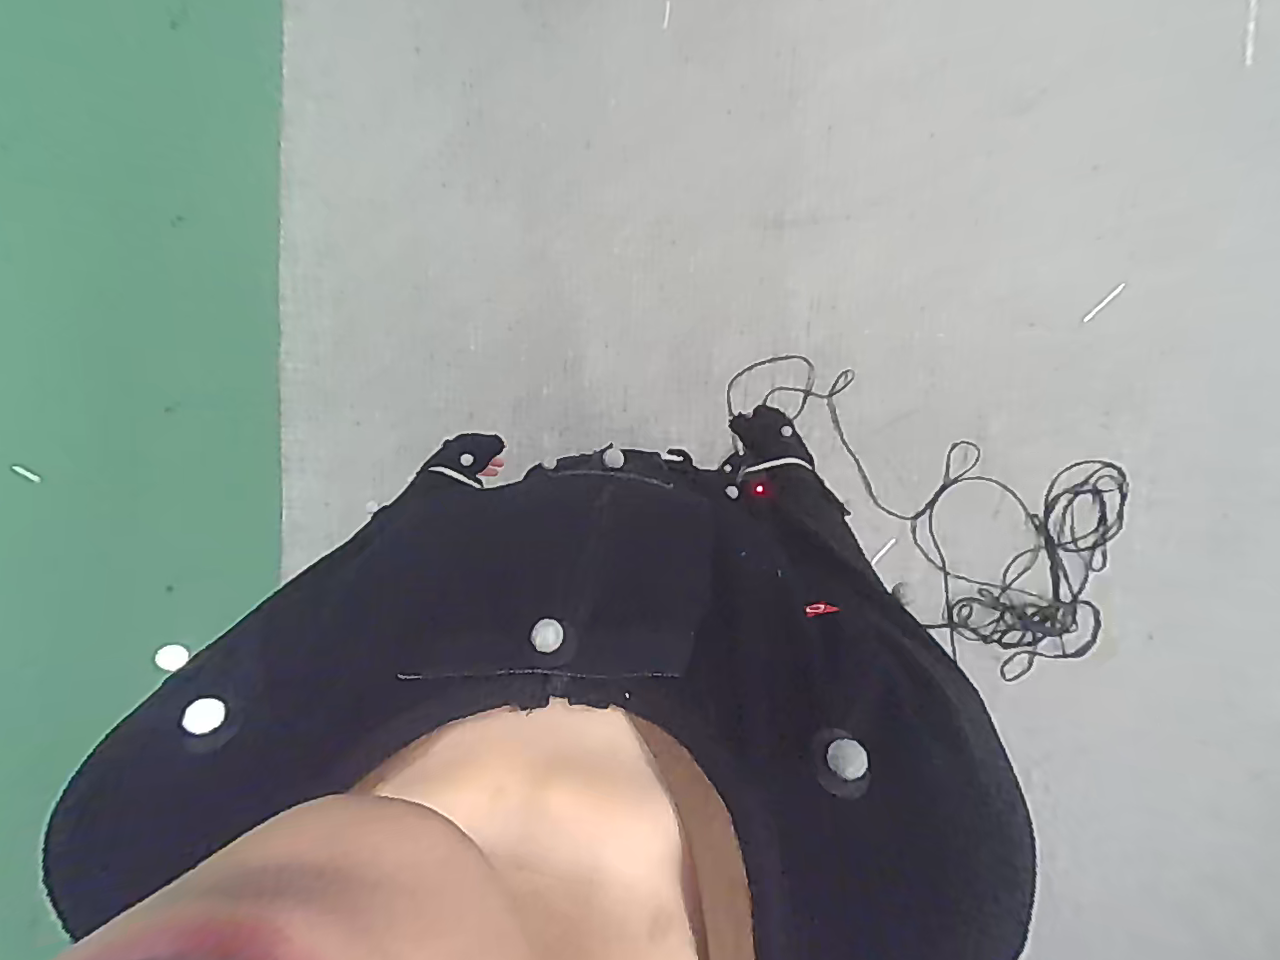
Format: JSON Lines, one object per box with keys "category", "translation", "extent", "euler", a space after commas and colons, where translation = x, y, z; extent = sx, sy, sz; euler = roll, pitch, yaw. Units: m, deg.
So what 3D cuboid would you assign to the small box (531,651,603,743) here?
{"category": "small box", "translation": [-0.187, 0.562, 1.420], "extent": [0.168, 0.176, 0.179], "euler": [2, 94, 0]}
